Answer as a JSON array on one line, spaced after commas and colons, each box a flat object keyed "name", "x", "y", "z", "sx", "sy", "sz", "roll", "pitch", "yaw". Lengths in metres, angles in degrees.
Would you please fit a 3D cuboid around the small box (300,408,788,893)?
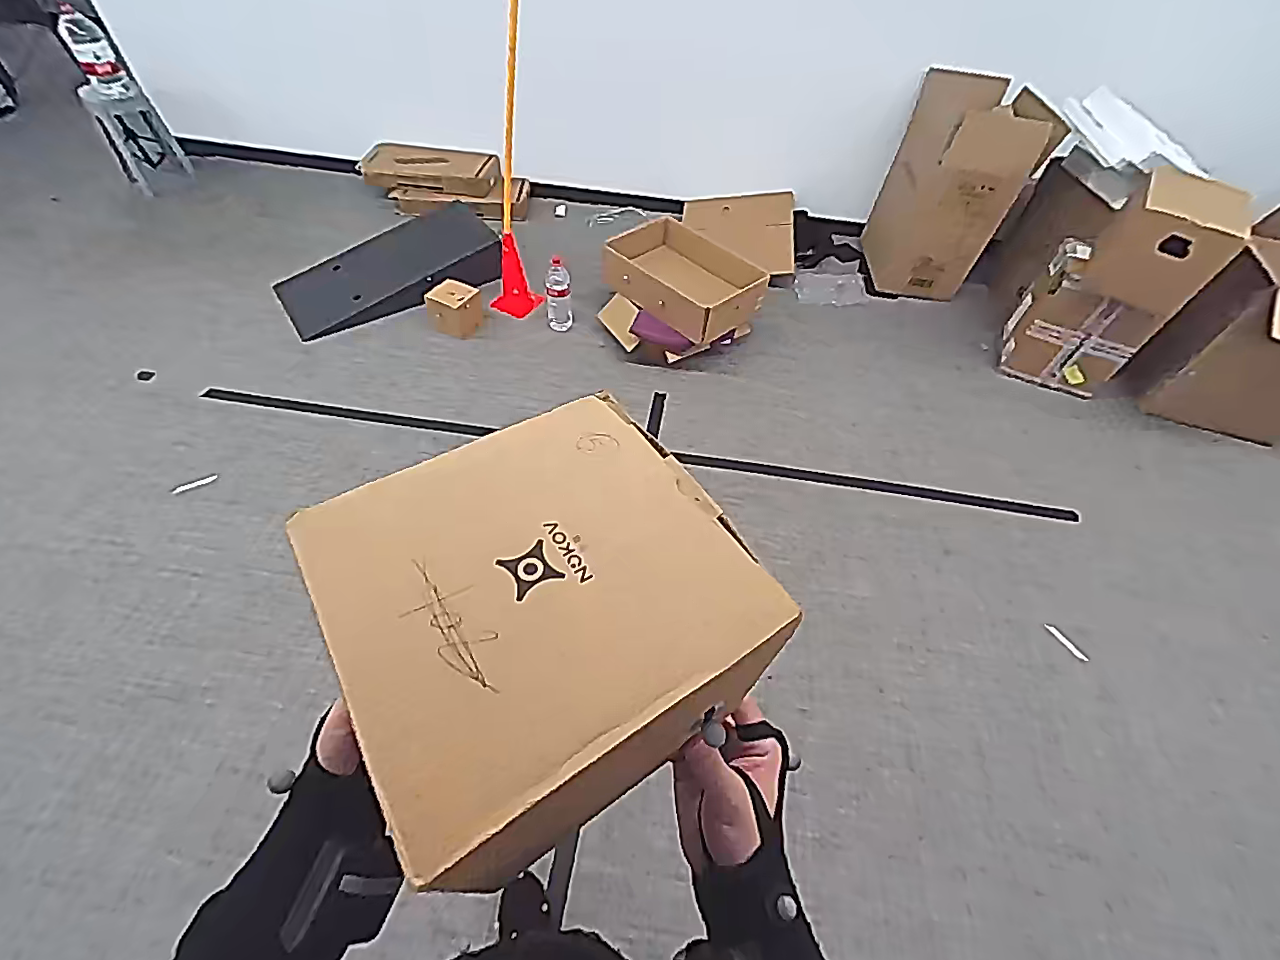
[{"name": "small box", "x": -0.051, "y": 0.095, "z": 0.314, "sx": 0.179, "sy": 0.176, "sz": 0.168, "roll": -28, "pitch": 59, "yaw": -22}]
